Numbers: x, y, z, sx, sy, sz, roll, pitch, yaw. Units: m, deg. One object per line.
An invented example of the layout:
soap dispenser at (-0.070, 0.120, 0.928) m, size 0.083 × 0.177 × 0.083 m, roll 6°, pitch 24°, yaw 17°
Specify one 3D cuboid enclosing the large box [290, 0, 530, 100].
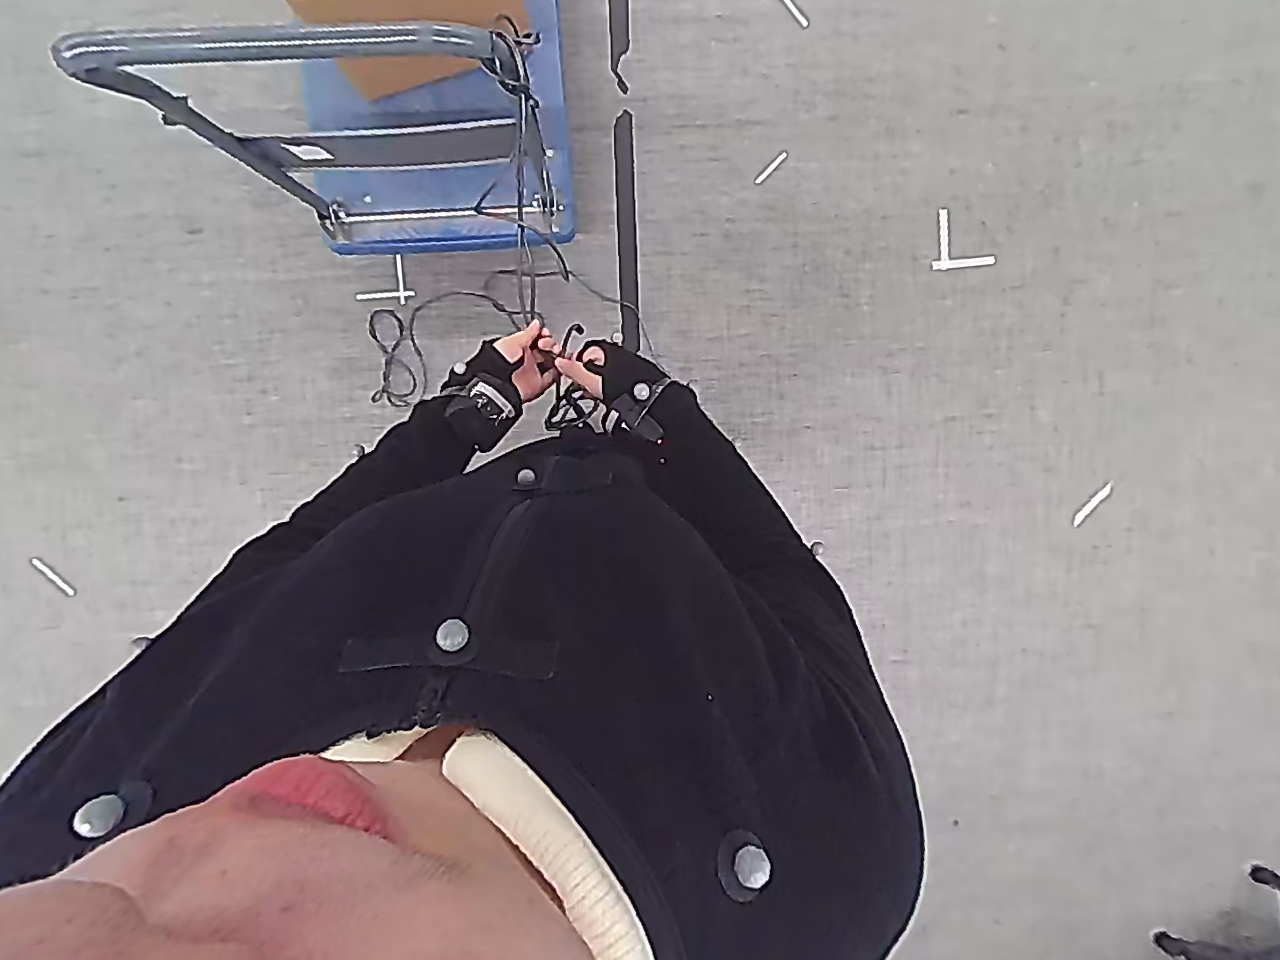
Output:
large box at (-0.469, -1.033, 1.044) m, size 0.408 × 0.320 × 0.320 m, roll -18°, pitch 97°, yaw -1°
